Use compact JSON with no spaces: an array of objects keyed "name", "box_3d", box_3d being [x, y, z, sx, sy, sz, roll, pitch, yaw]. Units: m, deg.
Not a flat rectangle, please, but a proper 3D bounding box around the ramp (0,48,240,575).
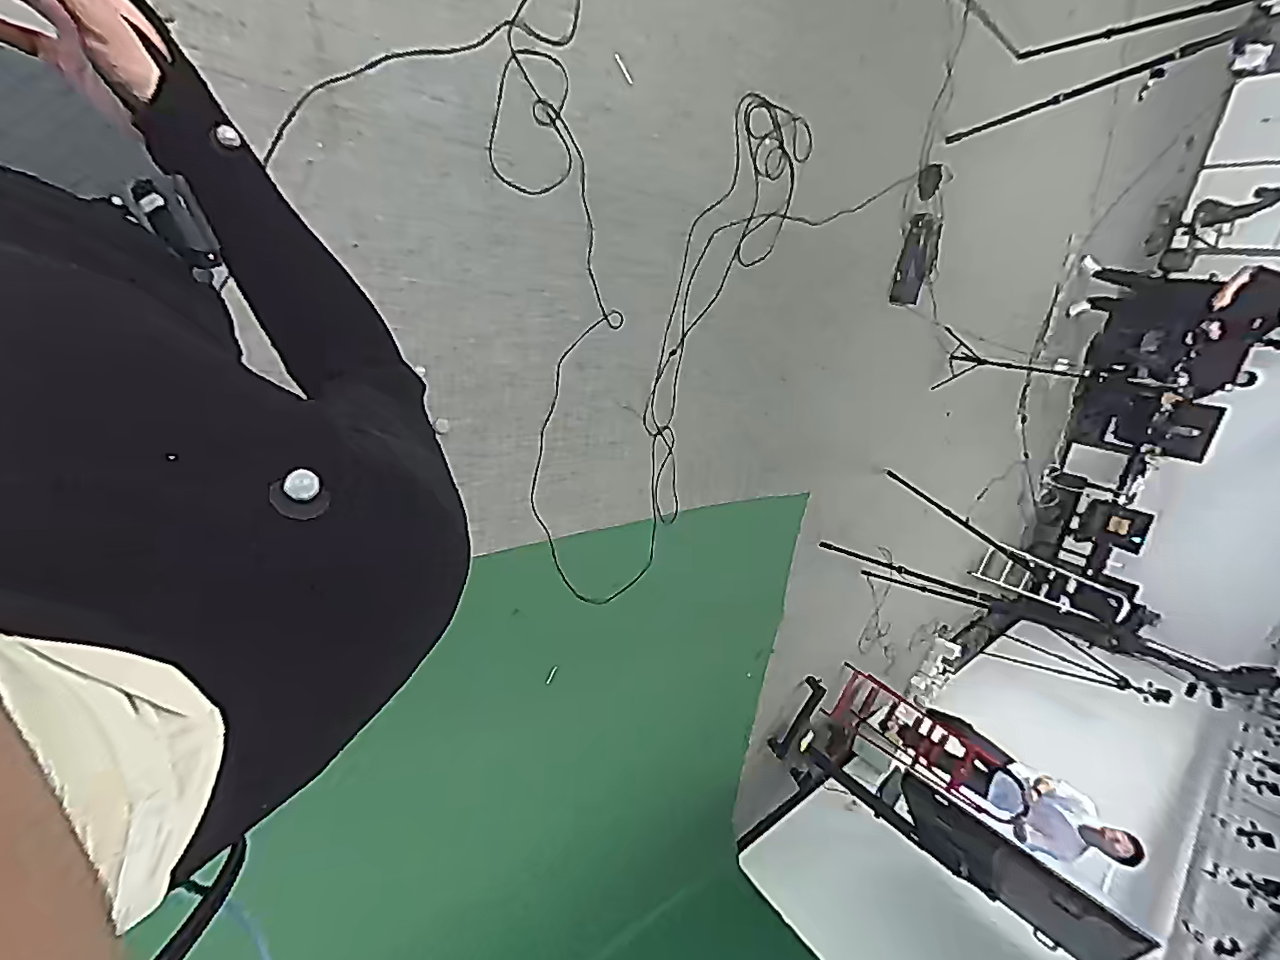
[{"name":"ramp","box_3d":[-1.189,-0.315,1.098,0.509,0.206,0.991,-11,115,-36]}]
